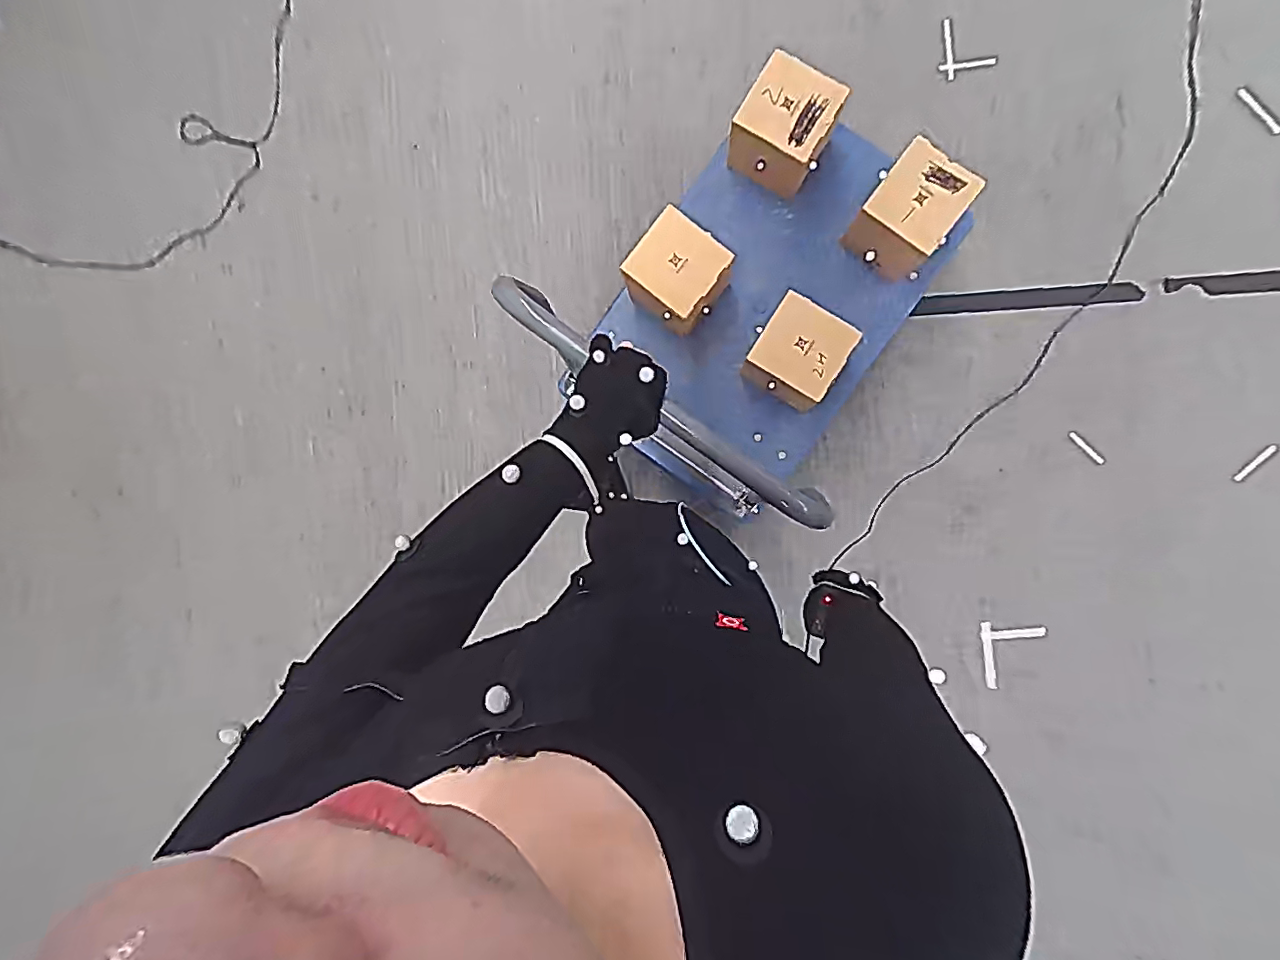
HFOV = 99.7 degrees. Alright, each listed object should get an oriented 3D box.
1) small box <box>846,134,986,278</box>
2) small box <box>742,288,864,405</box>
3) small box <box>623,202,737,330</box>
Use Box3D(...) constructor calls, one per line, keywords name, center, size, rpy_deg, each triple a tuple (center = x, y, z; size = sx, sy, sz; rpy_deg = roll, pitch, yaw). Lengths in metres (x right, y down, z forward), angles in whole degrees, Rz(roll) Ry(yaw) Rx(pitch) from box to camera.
Box3D(name="small box", center=(0.565, -0.564, 1.138), size=(0.168, 0.176, 0.179), rpy_deg=(38, 96, 3))
Box3D(name="small box", center=(0.338, -0.276, 1.165), size=(0.179, 0.176, 0.168), rpy_deg=(33, 94, 3))
Box3D(name="small box", center=(0.084, -0.454, 1.181), size=(0.179, 0.176, 0.168), rpy_deg=(39, 94, 1))
